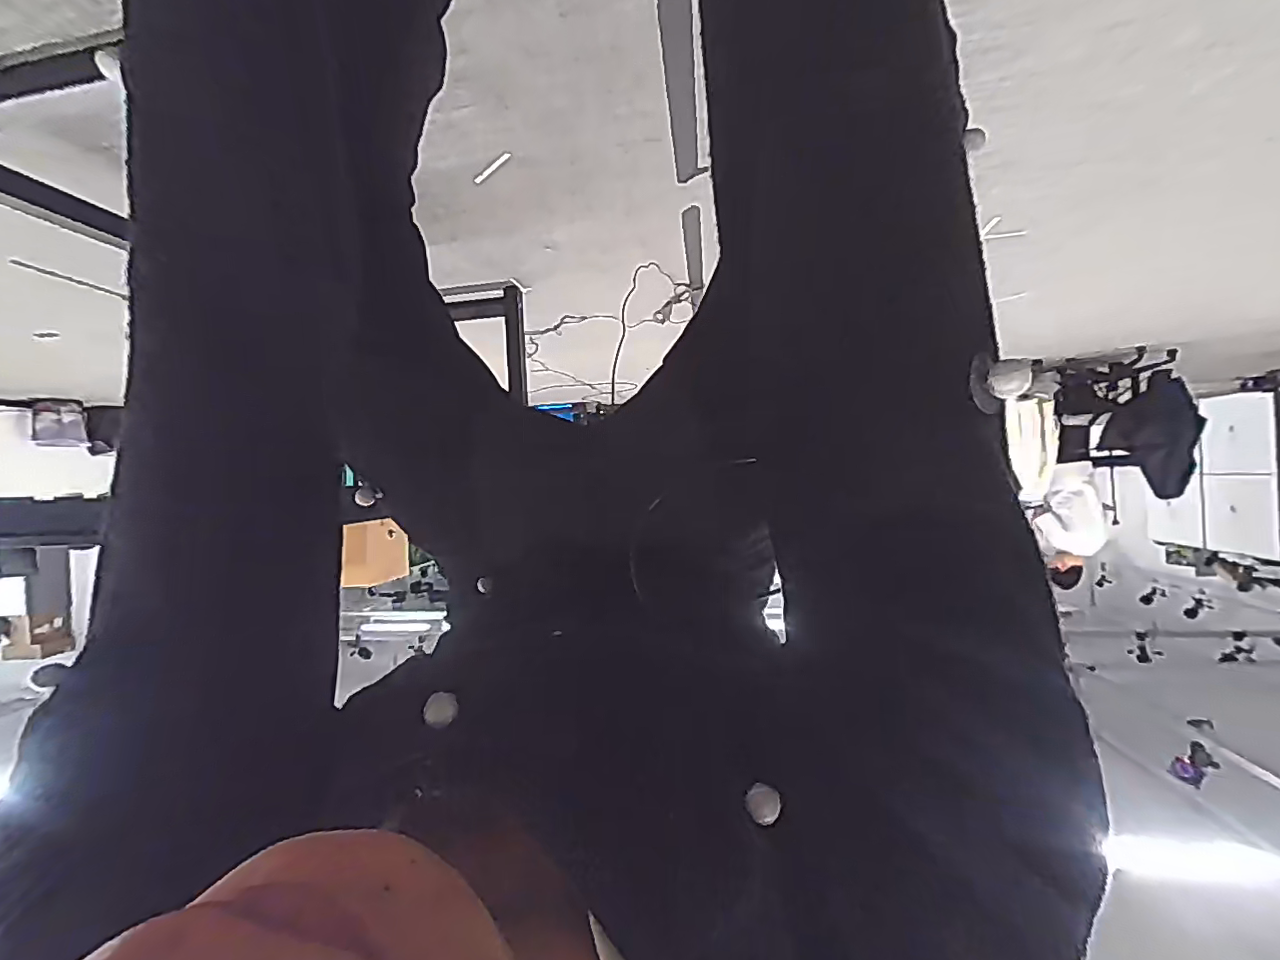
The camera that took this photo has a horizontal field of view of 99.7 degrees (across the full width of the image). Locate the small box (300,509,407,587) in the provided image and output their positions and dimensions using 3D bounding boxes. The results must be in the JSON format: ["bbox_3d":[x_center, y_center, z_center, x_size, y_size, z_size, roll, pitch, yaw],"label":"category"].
[{"bbox_3d":[-0.686,0.157,1.298,0.179,0.176,0.168,-3,180,9],"label":"small box"}]
